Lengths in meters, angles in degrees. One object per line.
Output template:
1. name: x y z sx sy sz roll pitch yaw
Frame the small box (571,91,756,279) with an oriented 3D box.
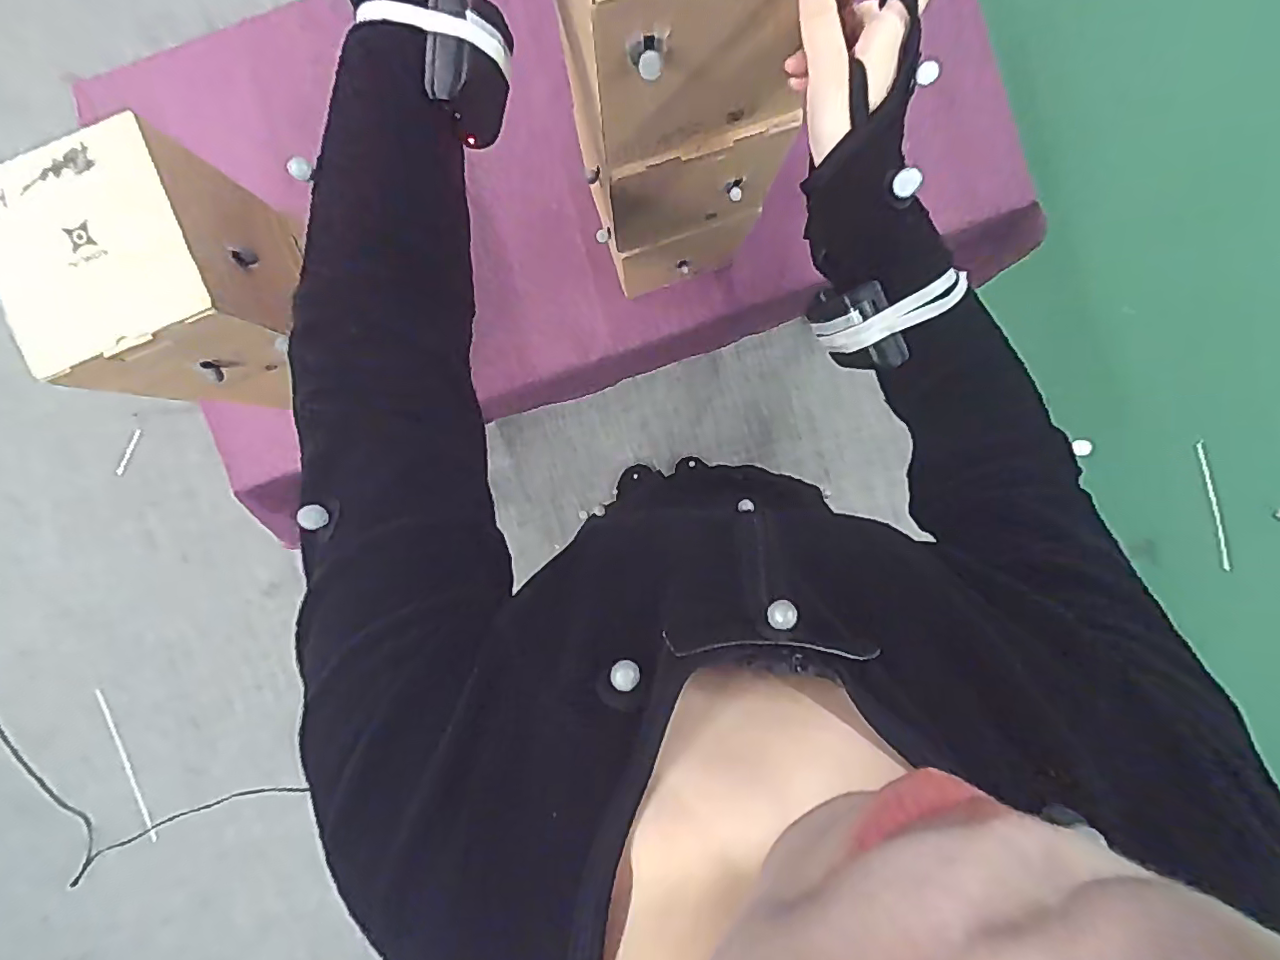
1. small box: 0.028 -0.367 0.666 0.168 0.176 0.179 -18 93 1

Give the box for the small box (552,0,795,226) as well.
1. small box: 0.025 -0.361 0.502 0.168 0.176 0.179 -16 93 2

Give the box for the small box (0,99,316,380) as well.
1. small box: -0.458 -0.204 0.521 0.168 0.176 0.179 -21 93 1
